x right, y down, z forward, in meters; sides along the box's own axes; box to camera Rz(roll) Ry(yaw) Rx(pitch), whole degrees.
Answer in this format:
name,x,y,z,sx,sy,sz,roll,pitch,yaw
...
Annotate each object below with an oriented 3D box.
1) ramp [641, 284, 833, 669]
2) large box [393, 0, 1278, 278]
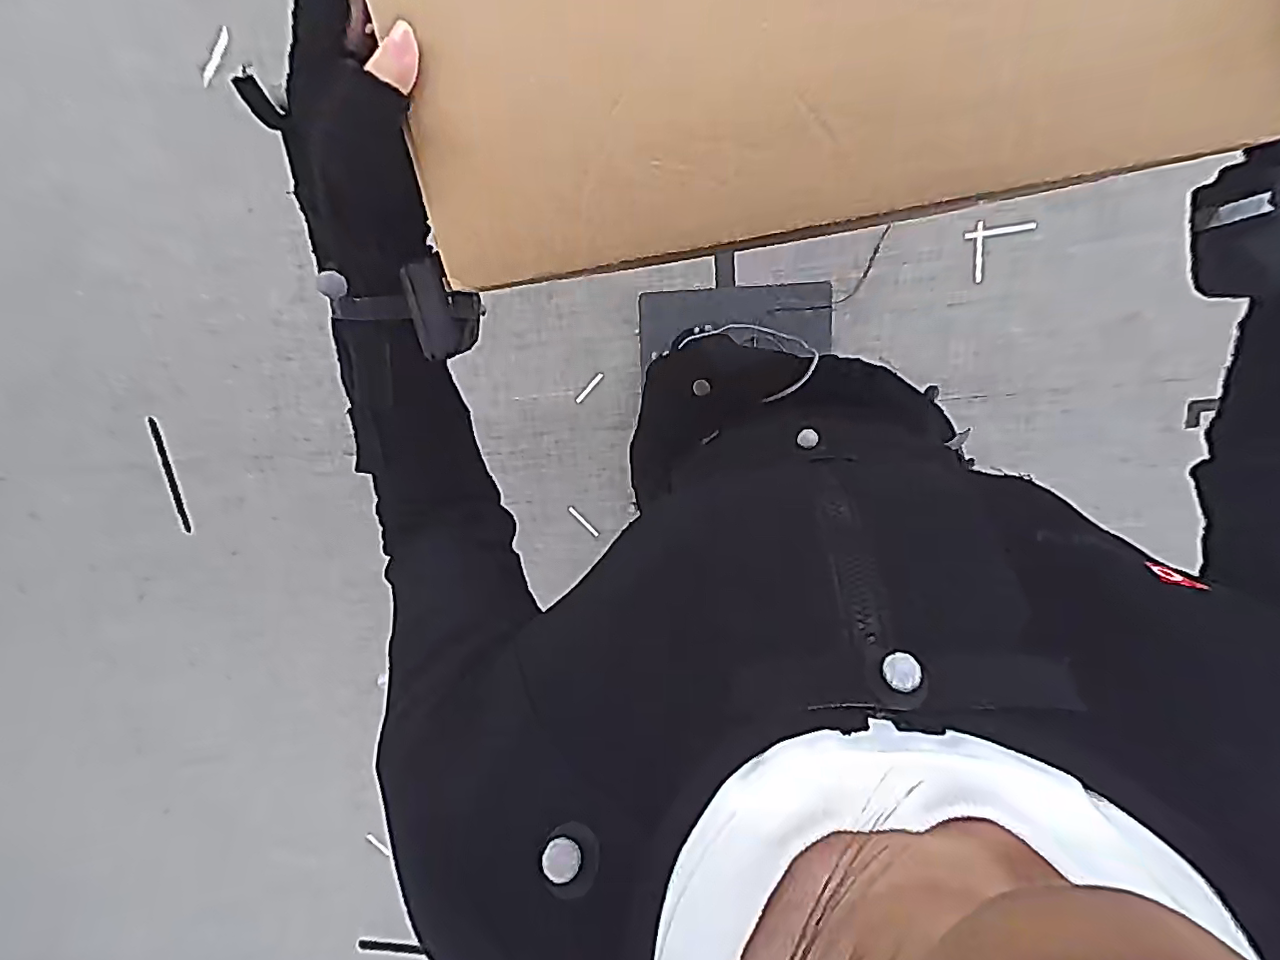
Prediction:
name,x,y,z,sx,sy,sz,roll,pitch,yaw
ramp,0.254,0.006,1.432,0.509,0.206,0.991,-2,103,10
large box,0.081,-0.339,0.370,0.408,0.320,0.320,-7,111,10
